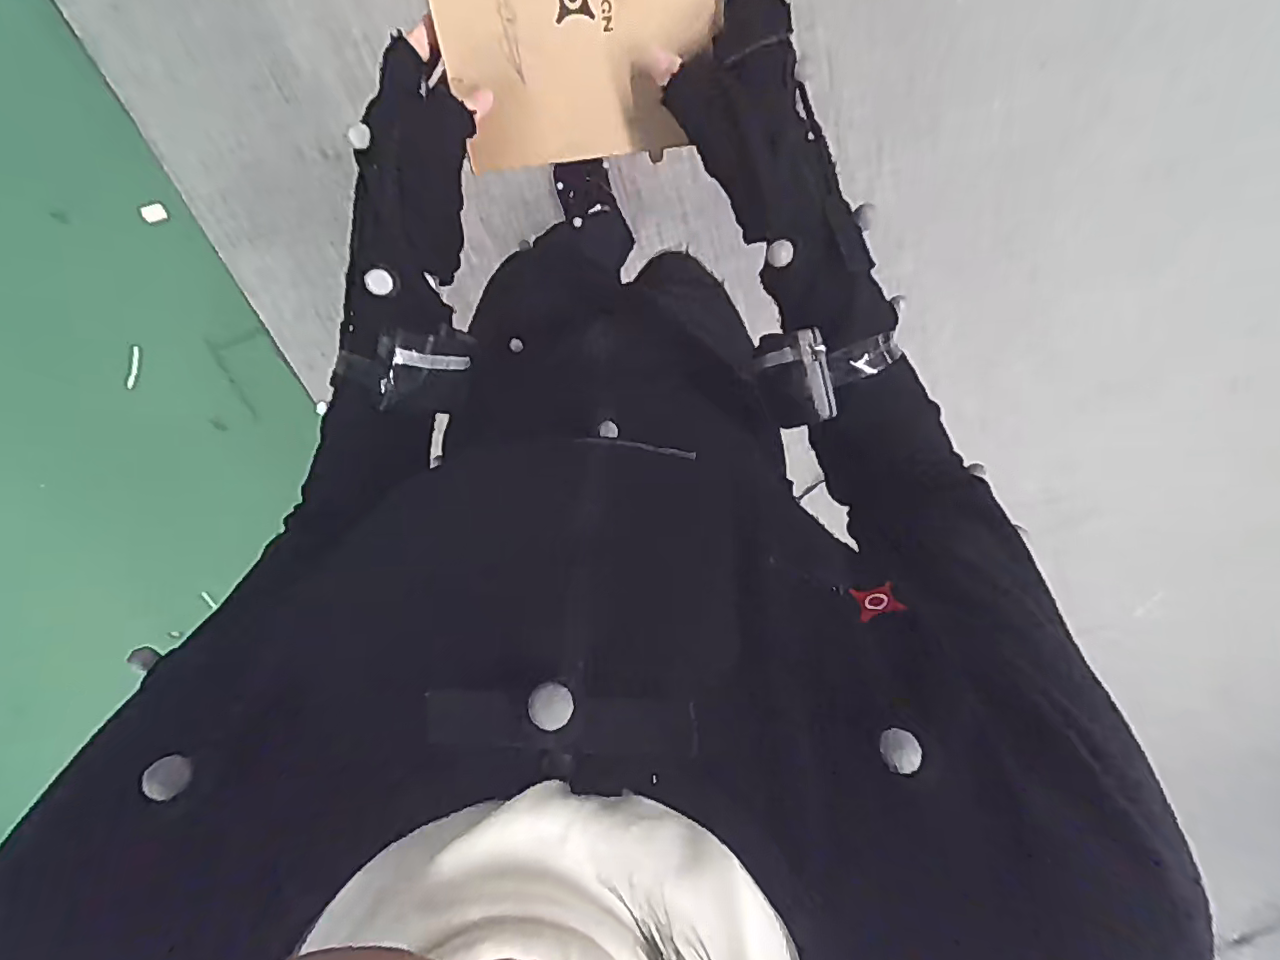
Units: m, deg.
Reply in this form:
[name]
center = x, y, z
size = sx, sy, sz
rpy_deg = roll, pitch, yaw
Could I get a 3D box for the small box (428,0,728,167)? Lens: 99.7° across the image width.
[small box]
center = -0.041, -0.334, 0.378
size = 0.179, 0.176, 0.168
rpy_deg = -7, 126, 3
